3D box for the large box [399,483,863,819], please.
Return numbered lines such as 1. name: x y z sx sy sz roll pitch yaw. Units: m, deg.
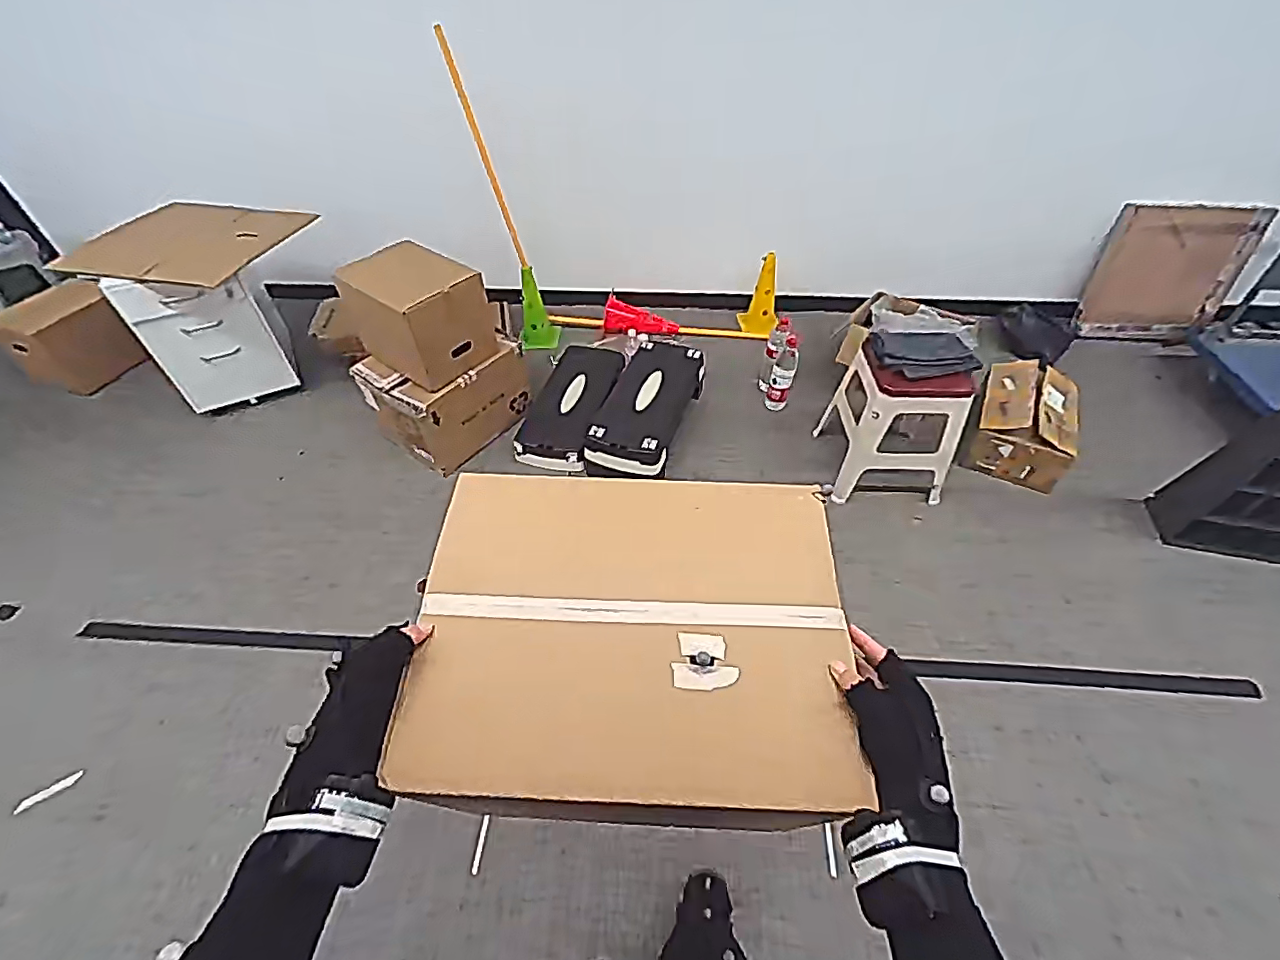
1. large box: -0.007 0.219 0.661 0.408 0.320 0.320 2 56 1
